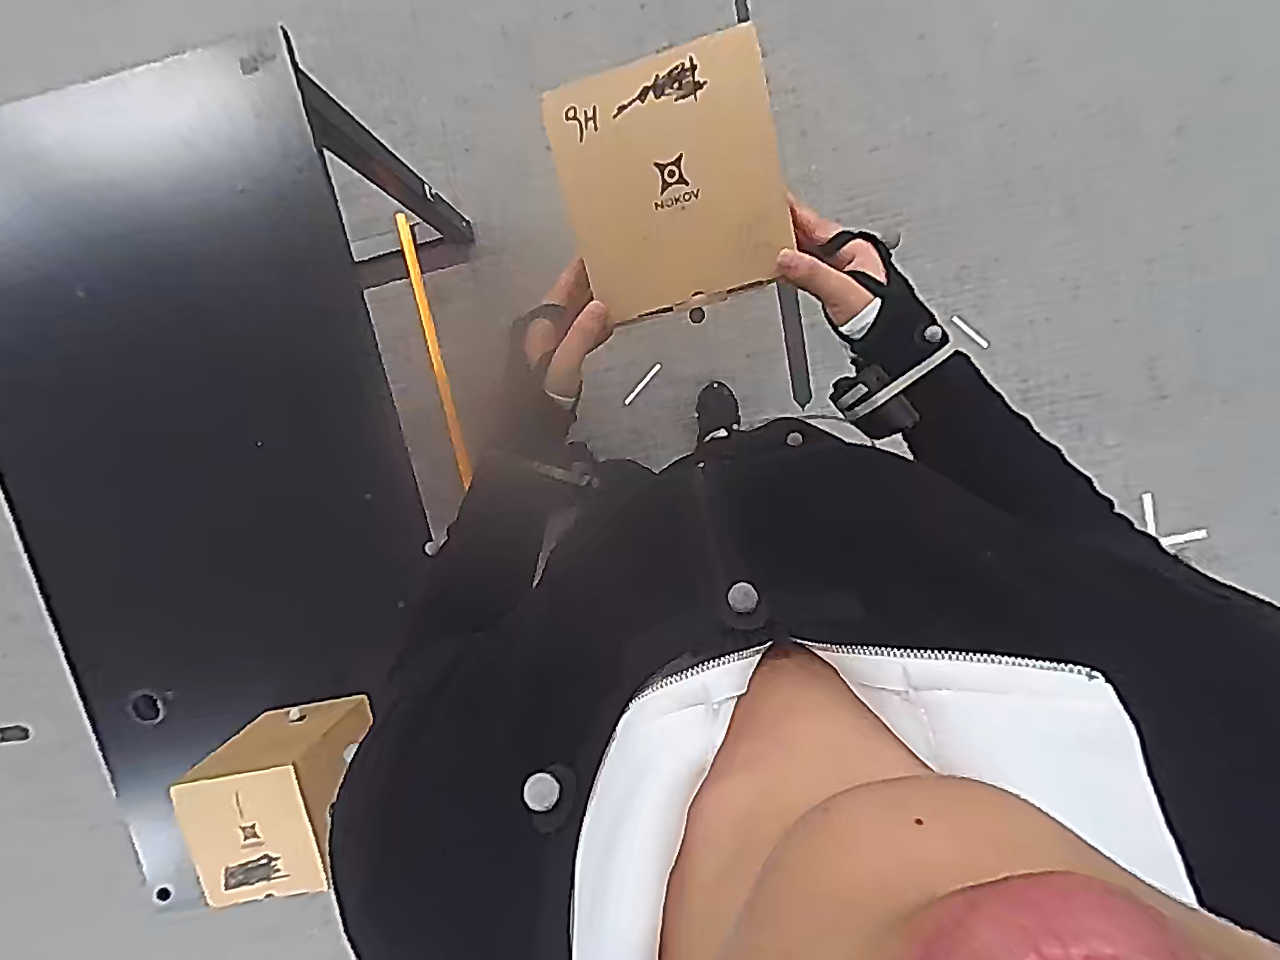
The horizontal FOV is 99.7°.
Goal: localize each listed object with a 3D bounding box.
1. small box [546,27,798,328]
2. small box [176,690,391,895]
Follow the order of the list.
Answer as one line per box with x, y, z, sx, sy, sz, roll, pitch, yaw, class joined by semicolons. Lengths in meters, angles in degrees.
0.034;-0.251;0.495;0.168;0.176;0.179;-14;107;8;small box
-0.481;0.427;0.760;0.168;0.176;0.179;-11;97;4;small box
